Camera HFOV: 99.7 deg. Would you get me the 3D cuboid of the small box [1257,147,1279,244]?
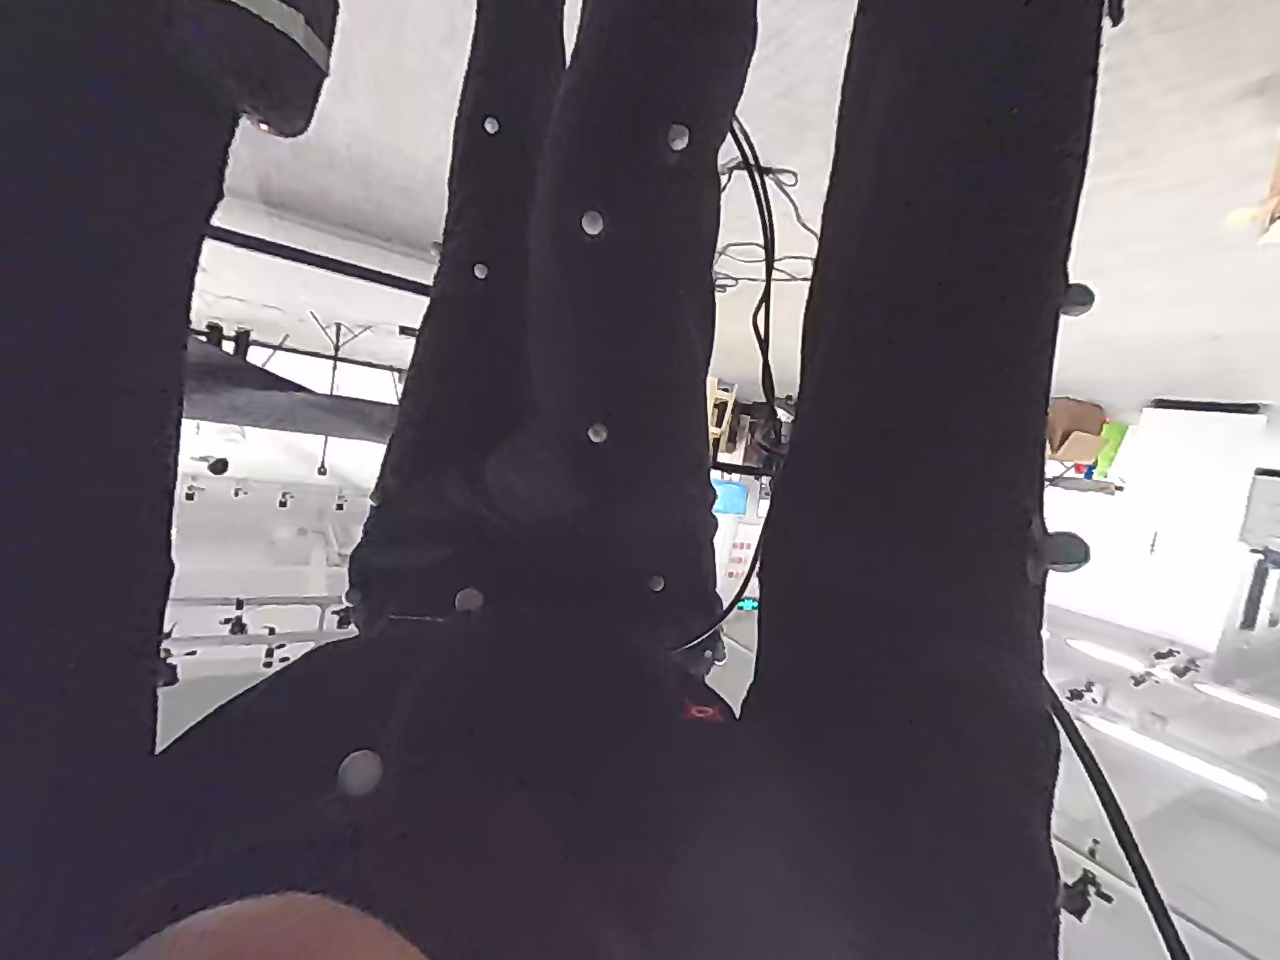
[{"bbox_3d":[0.913,-0.406,0.651,0.179,0.176,0.168,13,-174,38],"label":"small box"}]
